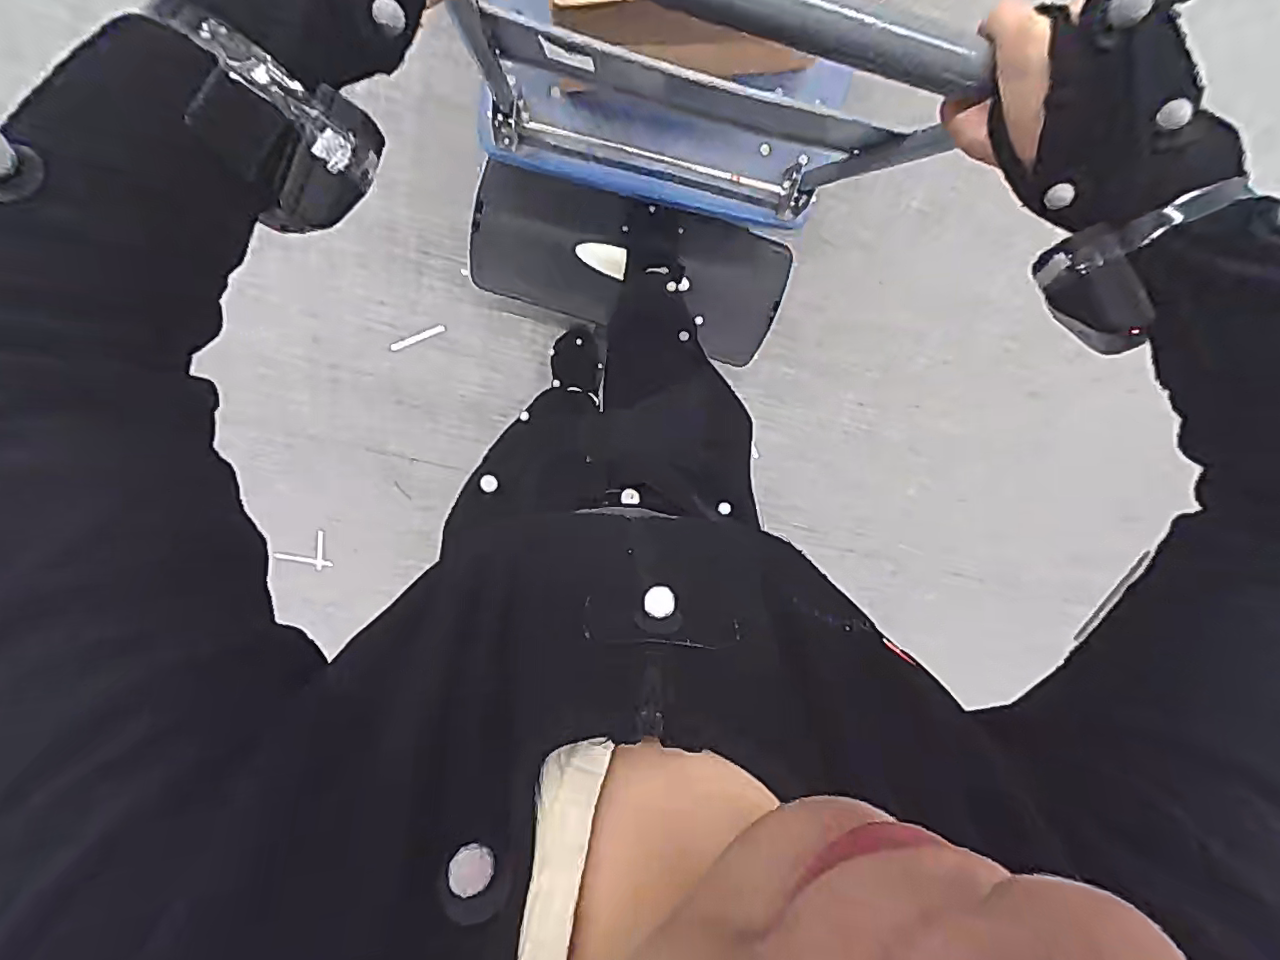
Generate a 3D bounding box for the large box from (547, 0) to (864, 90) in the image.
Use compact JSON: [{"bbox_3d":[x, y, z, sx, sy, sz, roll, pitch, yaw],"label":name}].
[{"bbox_3d":[0.067,-0.730,0.667,0.408,0.320,0.320,-9,113,-4],"label":"large box"}]
